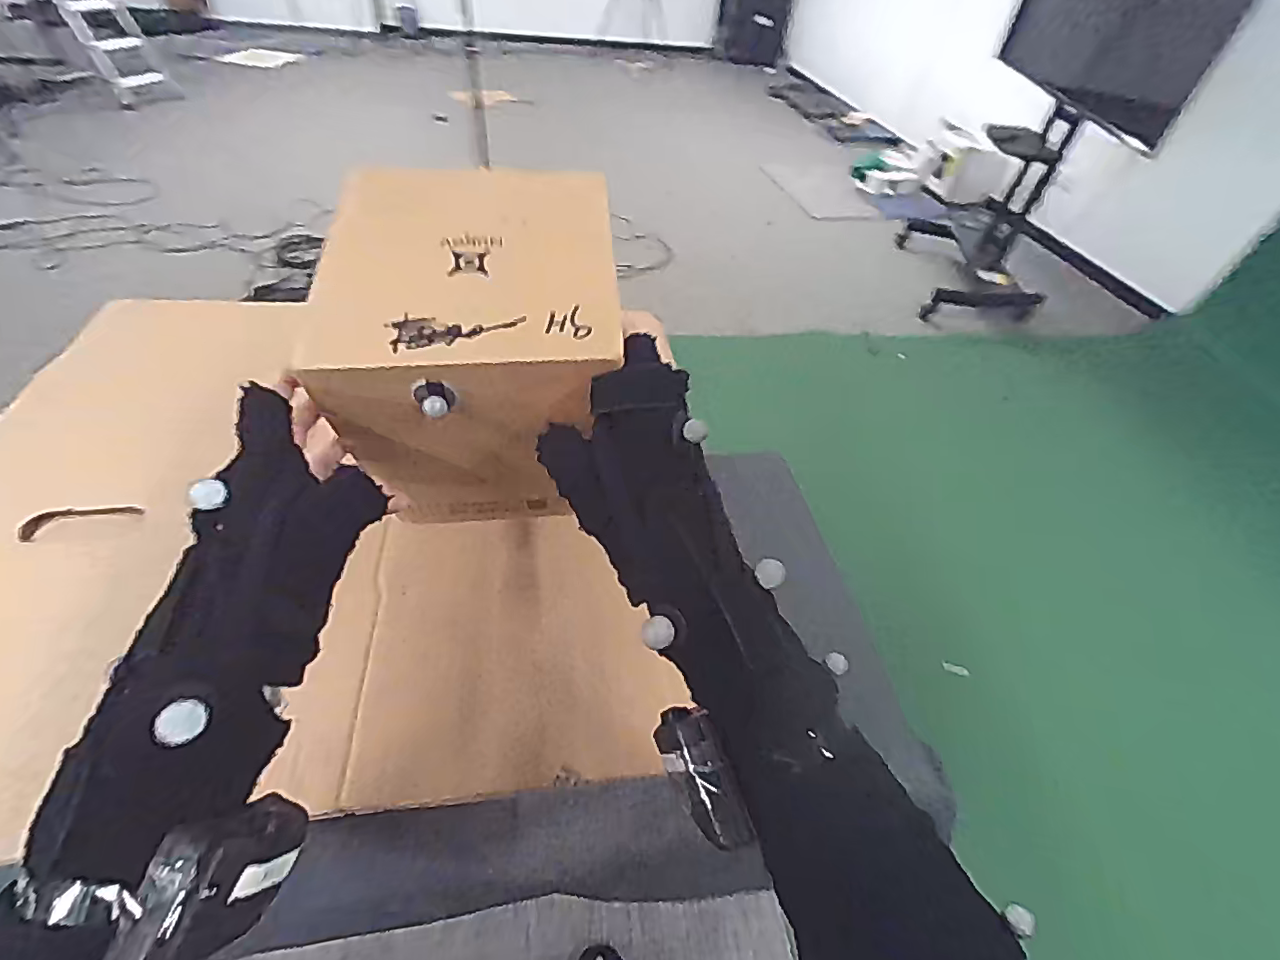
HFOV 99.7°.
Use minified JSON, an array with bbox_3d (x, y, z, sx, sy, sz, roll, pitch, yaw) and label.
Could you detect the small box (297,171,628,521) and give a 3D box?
[{"bbox_3d":[-0.097,-0.088,0.382,0.168,0.176,0.179,-3,59,-4],"label":"small box"}]
